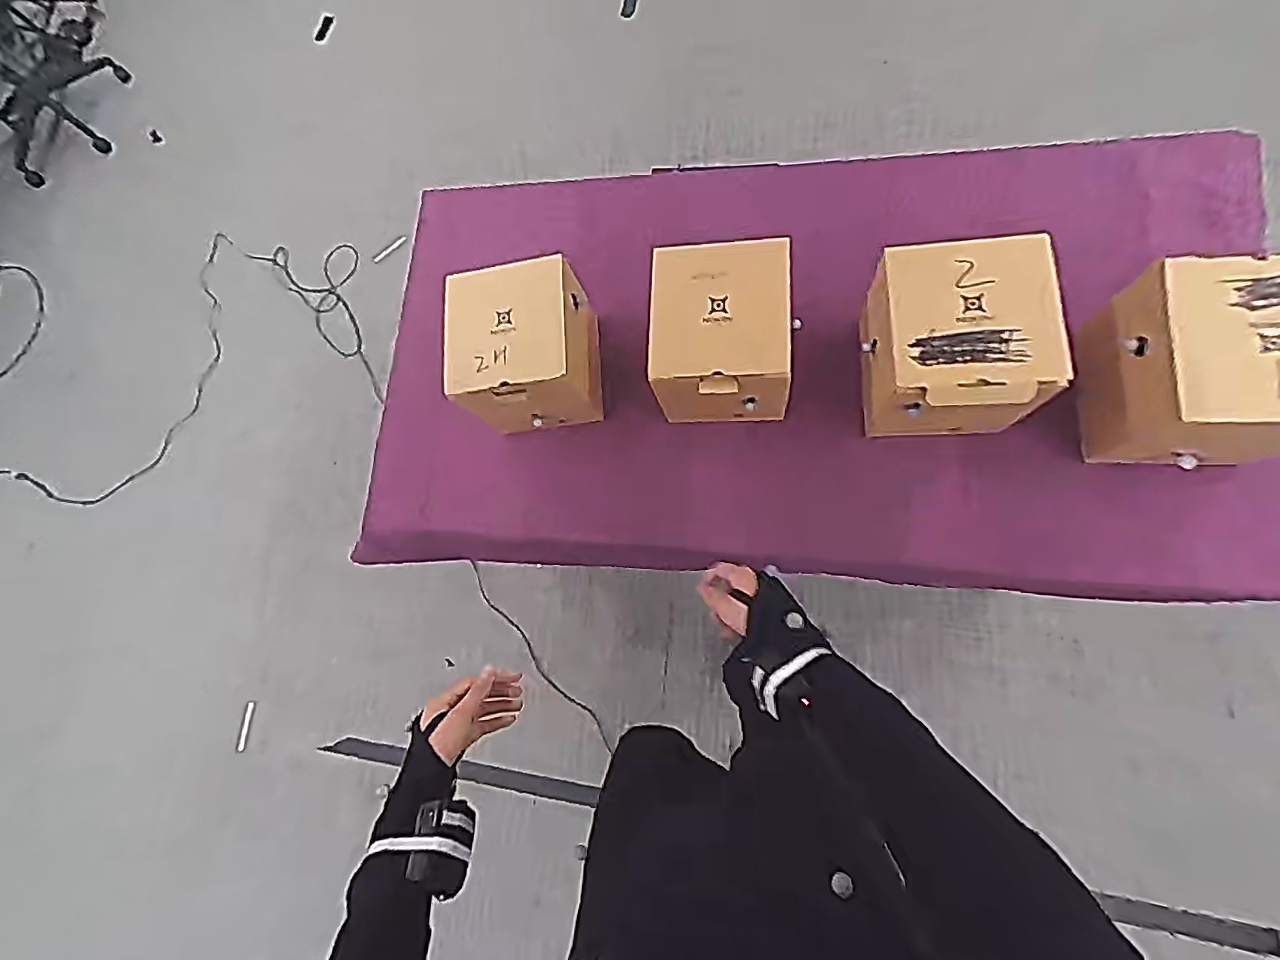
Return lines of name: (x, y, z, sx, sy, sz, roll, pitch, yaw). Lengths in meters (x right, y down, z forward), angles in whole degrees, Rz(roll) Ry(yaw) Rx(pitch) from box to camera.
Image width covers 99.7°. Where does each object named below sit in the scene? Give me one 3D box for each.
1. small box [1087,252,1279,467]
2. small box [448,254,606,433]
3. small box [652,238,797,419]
small box: (0.621, -0.119, 0.580, 0.168, 0.176, 0.179, 1, 79, 13)
small box: (-0.150, -0.180, 0.761, 0.168, 0.176, 0.179, -6, 77, 11)
small box: (0.115, -0.183, 0.706, 0.168, 0.176, 0.179, 1, 78, 12)
